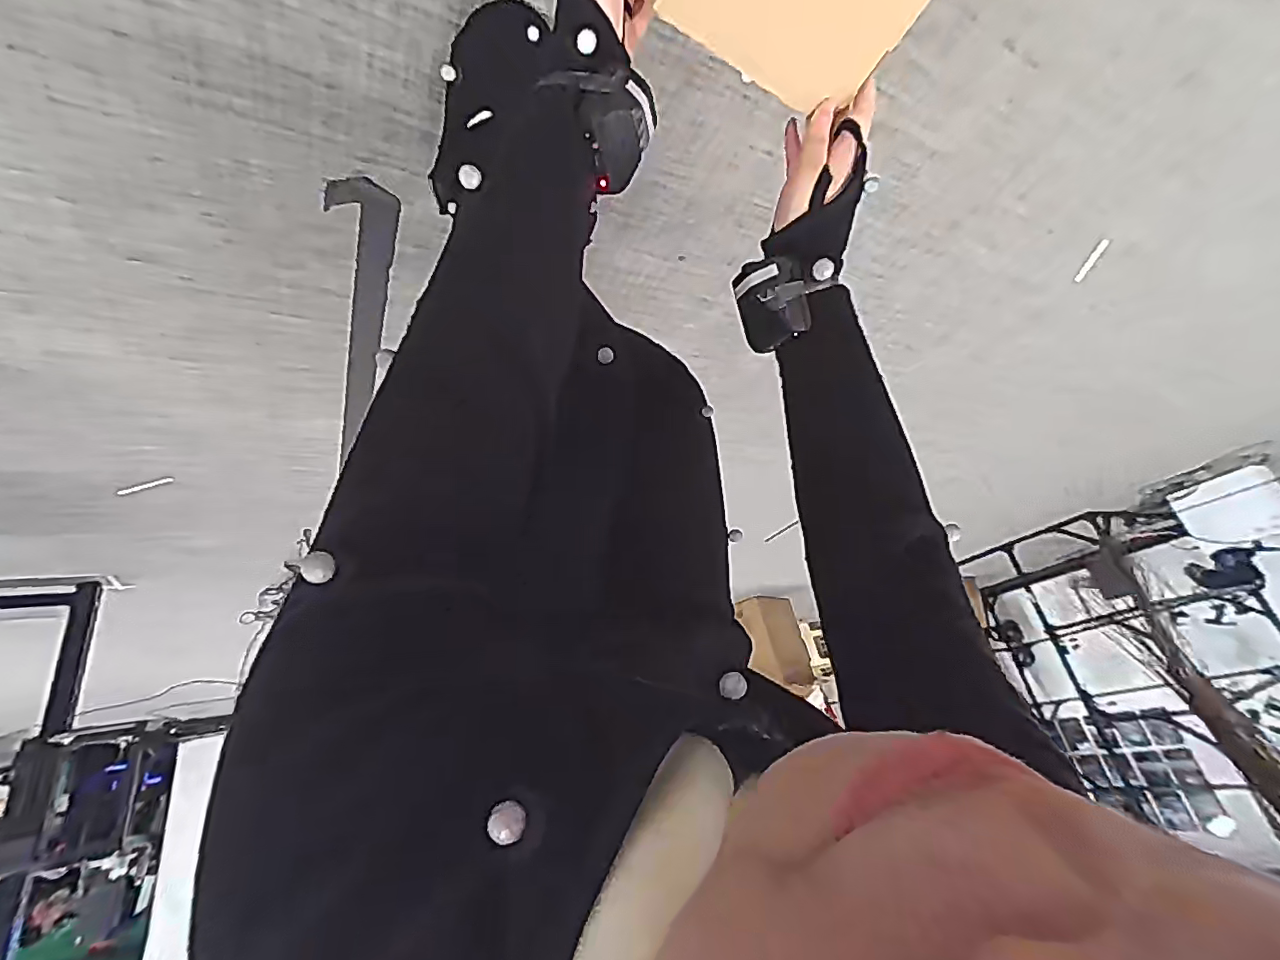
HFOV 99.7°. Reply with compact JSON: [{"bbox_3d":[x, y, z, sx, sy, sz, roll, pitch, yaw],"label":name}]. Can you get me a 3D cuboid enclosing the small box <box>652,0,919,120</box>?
[{"bbox_3d":[0.095,-0.393,0.351,0.179,0.176,0.168,5,146,-34],"label":"small box"}]
